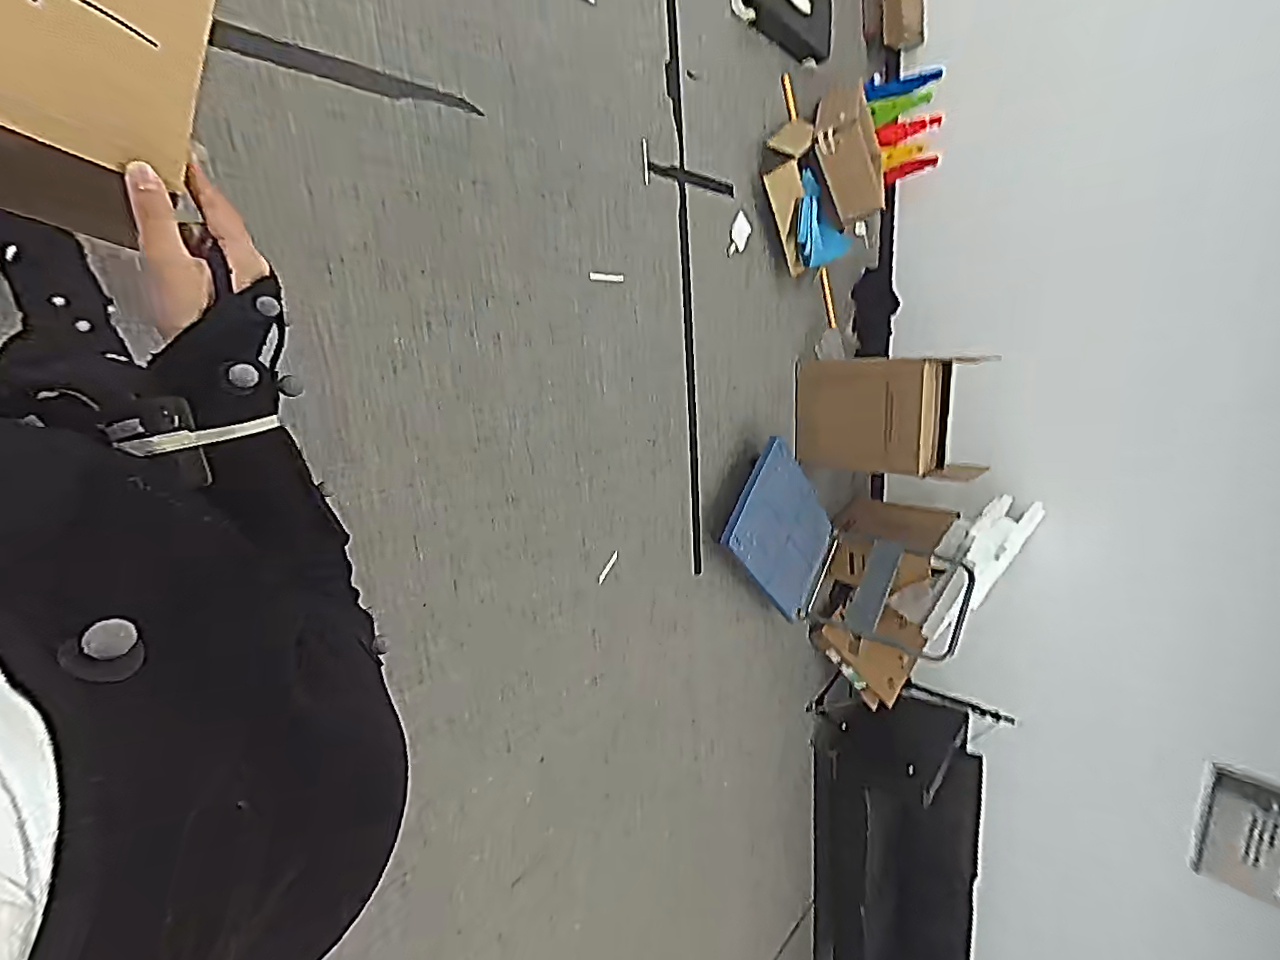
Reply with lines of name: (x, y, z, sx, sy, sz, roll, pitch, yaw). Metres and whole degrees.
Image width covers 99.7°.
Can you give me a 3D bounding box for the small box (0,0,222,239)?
small box: (-0.381, -0.270, 0.325, 0.179, 0.176, 0.168, 10, 87, -47)
